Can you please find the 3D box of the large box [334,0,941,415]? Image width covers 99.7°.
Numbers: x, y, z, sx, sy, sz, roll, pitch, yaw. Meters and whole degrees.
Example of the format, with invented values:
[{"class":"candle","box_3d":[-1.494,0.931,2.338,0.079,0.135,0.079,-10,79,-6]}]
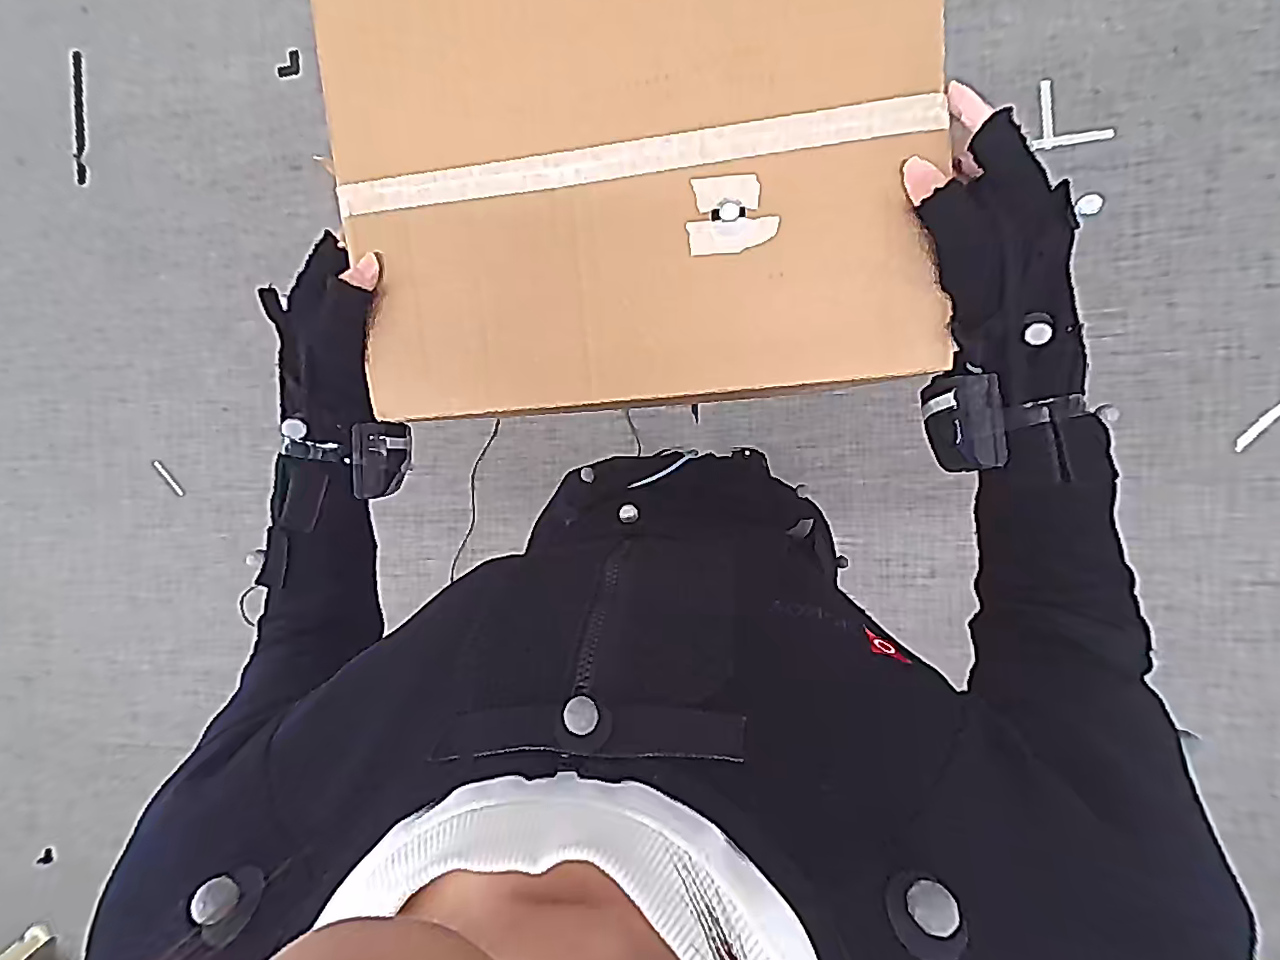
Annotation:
[{"class":"large box","box_3d":[0.008,-0.237,0.520,0.408,0.320,0.320,-5,97,7]}]
